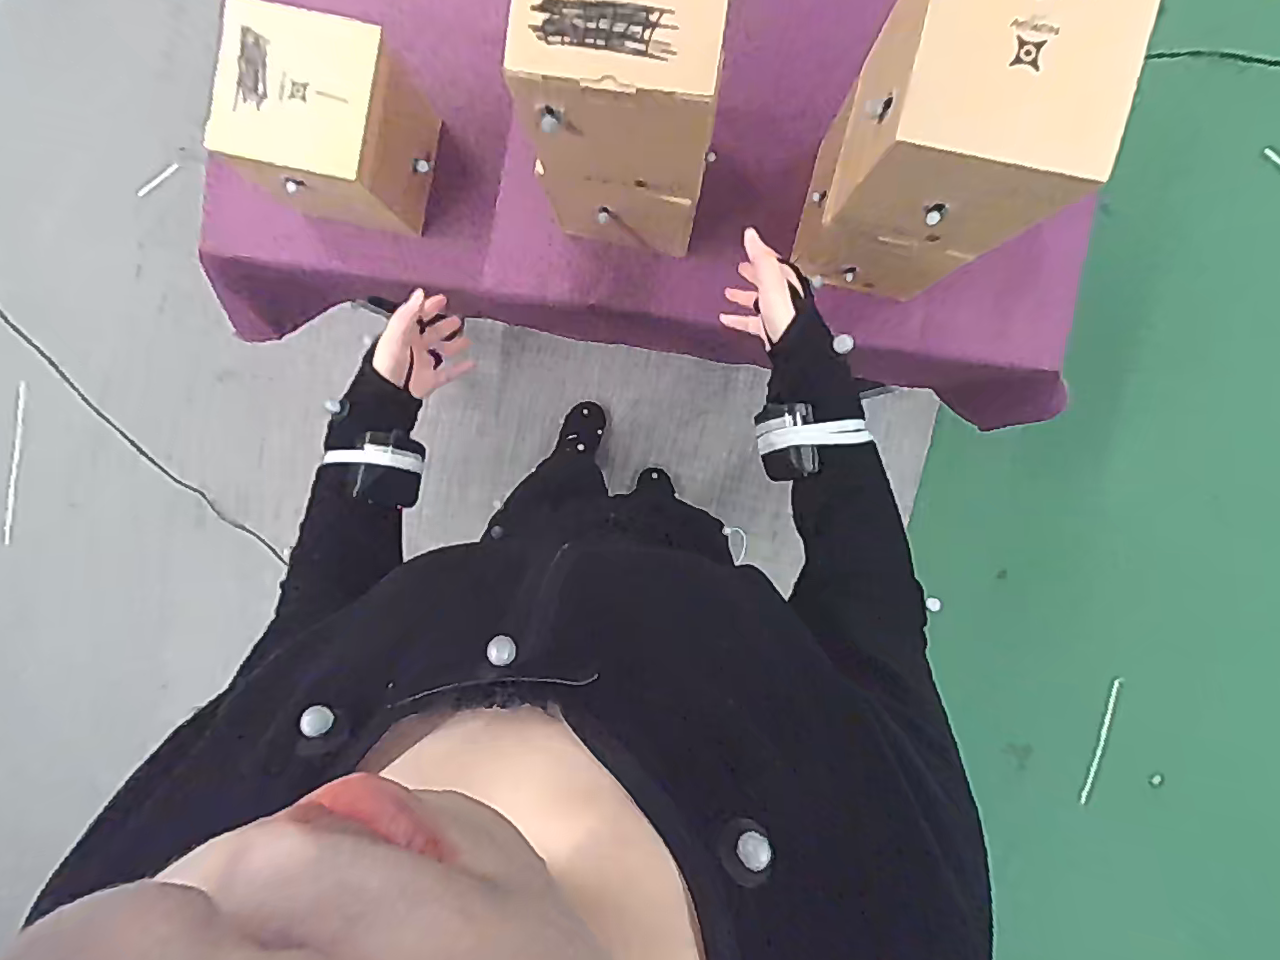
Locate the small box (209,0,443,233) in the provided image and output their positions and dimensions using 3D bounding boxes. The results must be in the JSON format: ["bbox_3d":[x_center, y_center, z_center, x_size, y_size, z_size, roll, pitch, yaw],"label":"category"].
[{"bbox_3d":[-0.372,-0.431,0.670,0.179,0.176,0.168,12,94,0],"label":"small box"}]

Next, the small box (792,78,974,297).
[{"bbox_3d":[0.299,-0.344,0.654,0.168,0.176,0.179,14,95,1],"label":"small box"}]

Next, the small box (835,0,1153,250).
[{"bbox_3d":[0.294,-0.333,0.489,0.168,0.176,0.179,13,94,1],"label":"small box"}]

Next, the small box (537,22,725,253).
[{"bbox_3d":[-0.007,-0.399,0.660,0.179,0.176,0.168,13,94,2],"label":"small box"}]
